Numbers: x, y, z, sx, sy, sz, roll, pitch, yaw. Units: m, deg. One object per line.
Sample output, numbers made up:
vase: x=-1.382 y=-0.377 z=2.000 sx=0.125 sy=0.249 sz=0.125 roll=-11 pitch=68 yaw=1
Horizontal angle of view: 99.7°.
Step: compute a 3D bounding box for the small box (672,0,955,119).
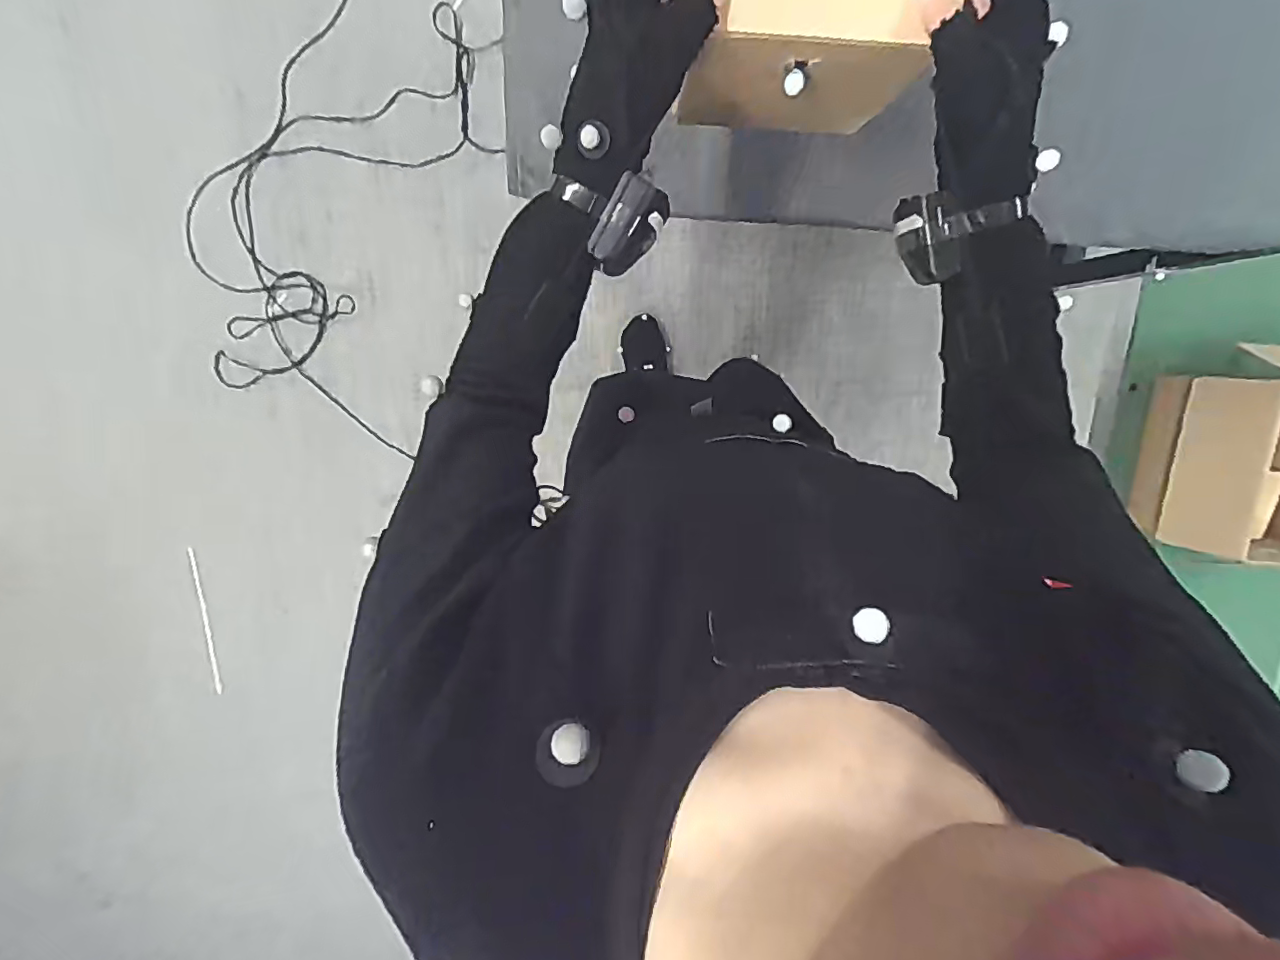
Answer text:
small box: x=0.121 y=-0.396 z=0.408 sx=0.179 sy=0.176 sz=0.168 roll=3 pitch=106 yaw=-1
